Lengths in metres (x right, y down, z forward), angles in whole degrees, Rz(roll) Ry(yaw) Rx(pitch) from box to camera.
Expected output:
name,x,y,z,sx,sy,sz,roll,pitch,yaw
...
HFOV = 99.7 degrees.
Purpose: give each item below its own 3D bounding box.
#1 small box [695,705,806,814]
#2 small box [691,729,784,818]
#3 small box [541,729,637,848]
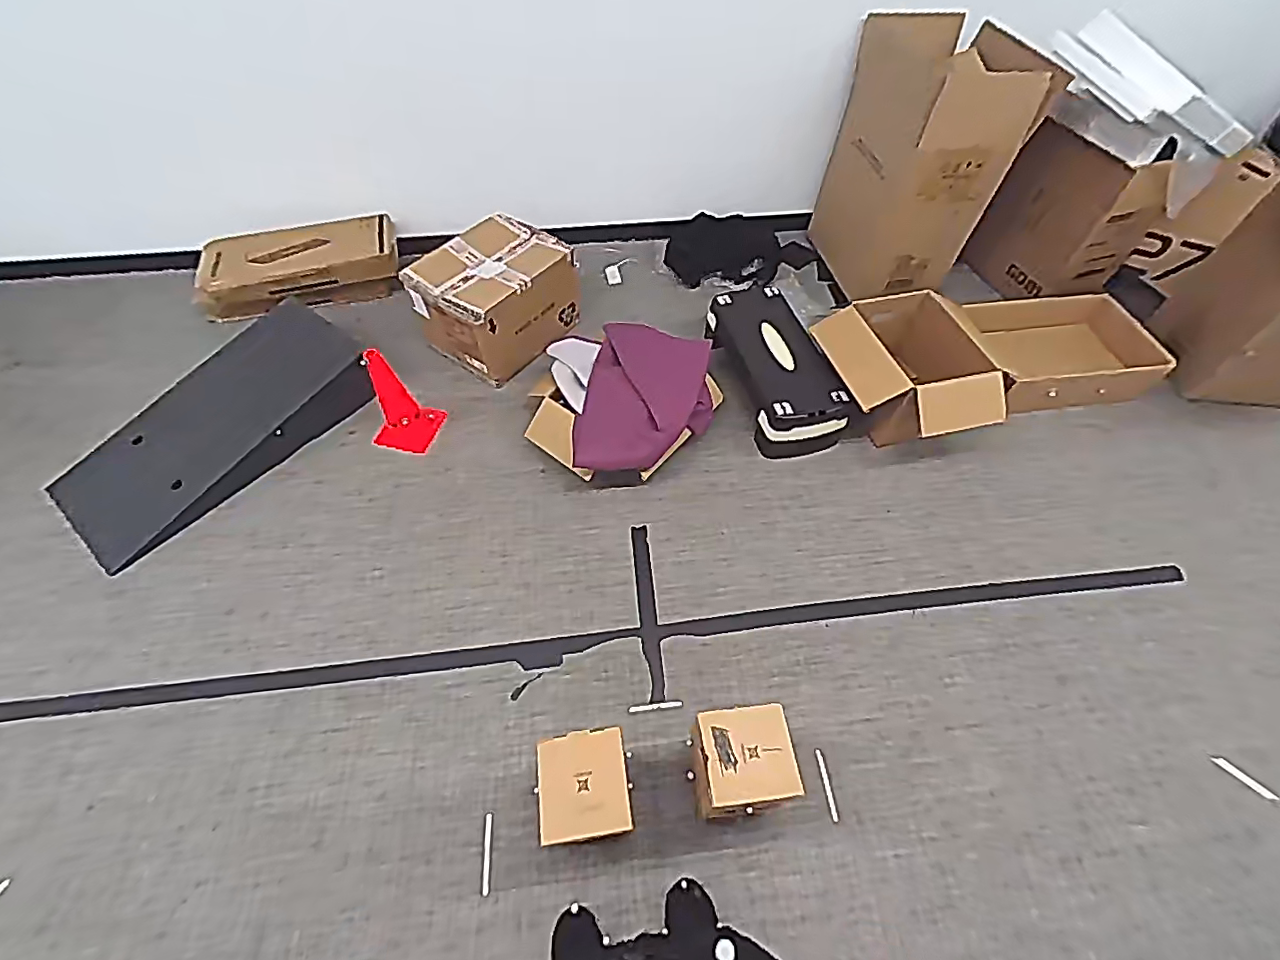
name,x,y,z,sx,sy,sz,roll,pitch,yaw
small box,0.212,0.571,1.099,0.179,0.176,0.168,-4,55,-5
small box,0.215,0.665,1.235,0.168,0.176,0.179,-3,57,-4
small box,-0.099,0.613,1.070,0.168,0.176,0.179,-8,57,-4
